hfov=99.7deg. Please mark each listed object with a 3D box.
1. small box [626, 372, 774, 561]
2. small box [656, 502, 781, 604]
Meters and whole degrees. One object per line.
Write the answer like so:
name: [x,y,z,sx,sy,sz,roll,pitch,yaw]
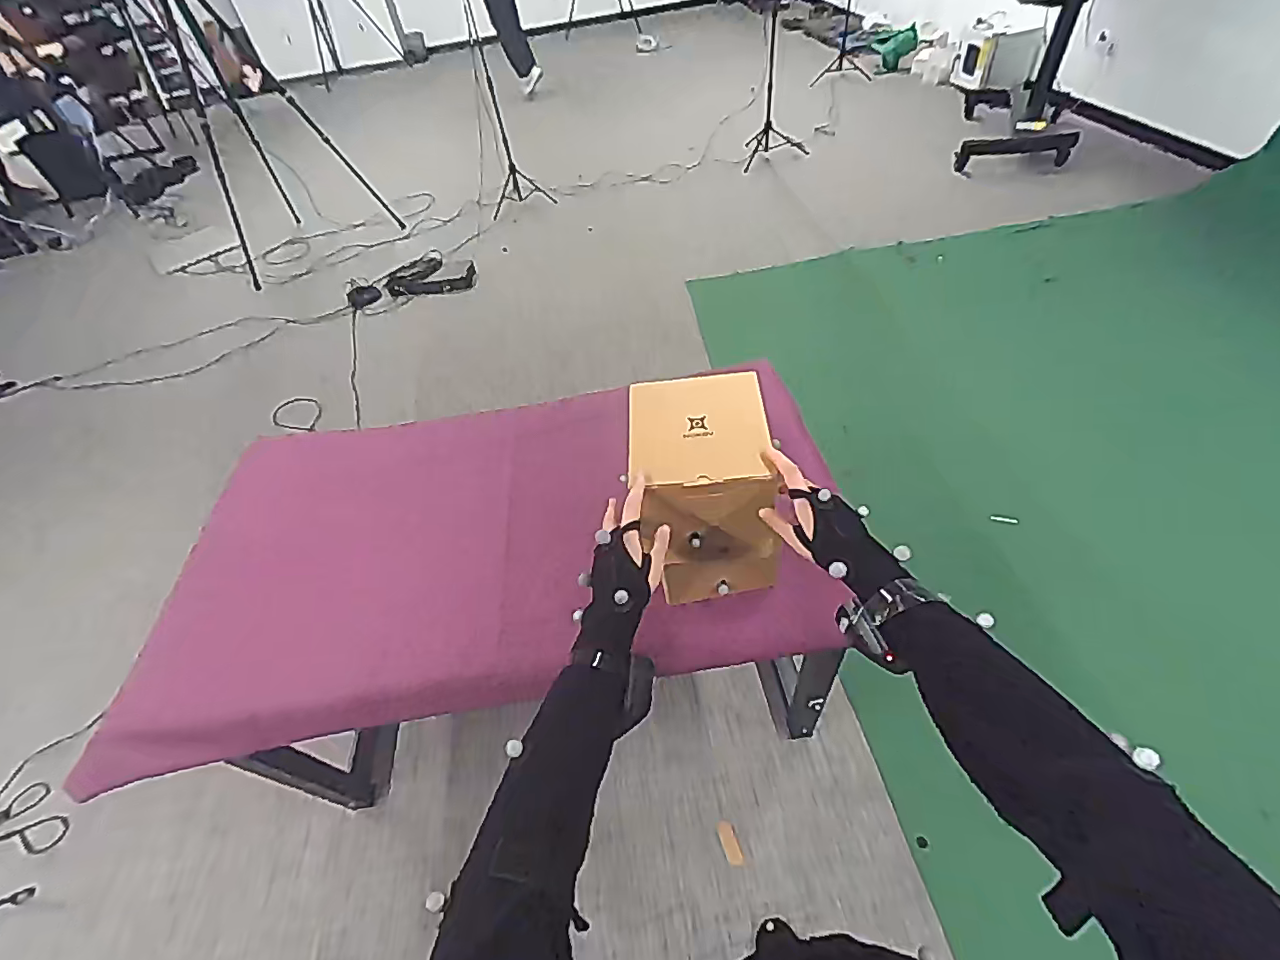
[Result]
small box: [0.074,-0.015,0.705,0.168,0.176,0.179,-5,51,6]
small box: [0.105,0.071,0.842,0.179,0.176,0.168,-11,49,0]
